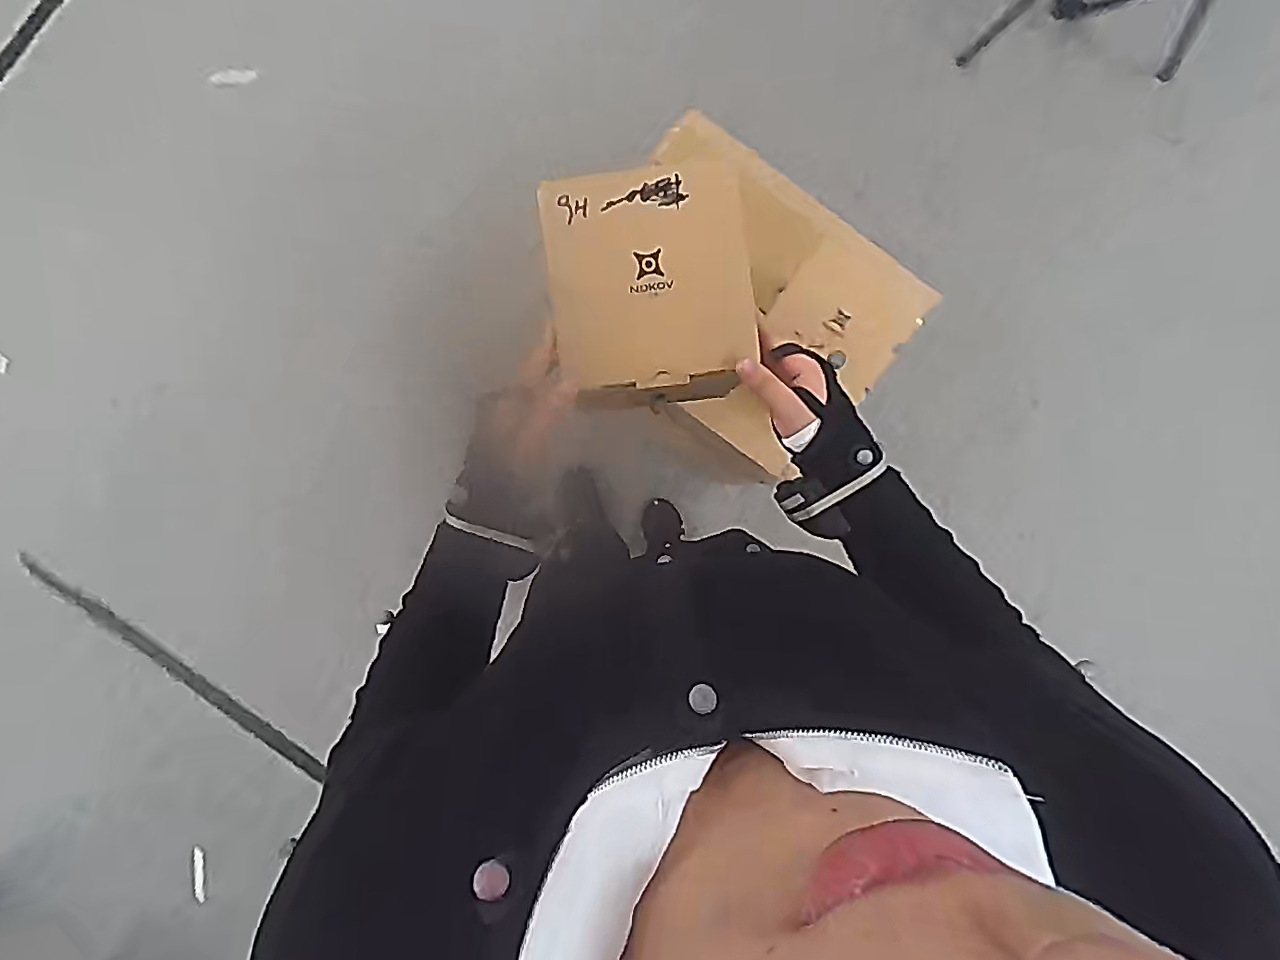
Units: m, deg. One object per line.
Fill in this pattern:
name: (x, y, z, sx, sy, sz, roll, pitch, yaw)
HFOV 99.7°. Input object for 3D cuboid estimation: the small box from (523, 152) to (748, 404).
small box: (-0.002, -0.172, 0.520, 0.168, 0.176, 0.179, -9, 92, 0)

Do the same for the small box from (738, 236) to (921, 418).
small box: (0.262, -0.212, 0.802, 0.168, 0.176, 0.179, 37, 91, 1)
